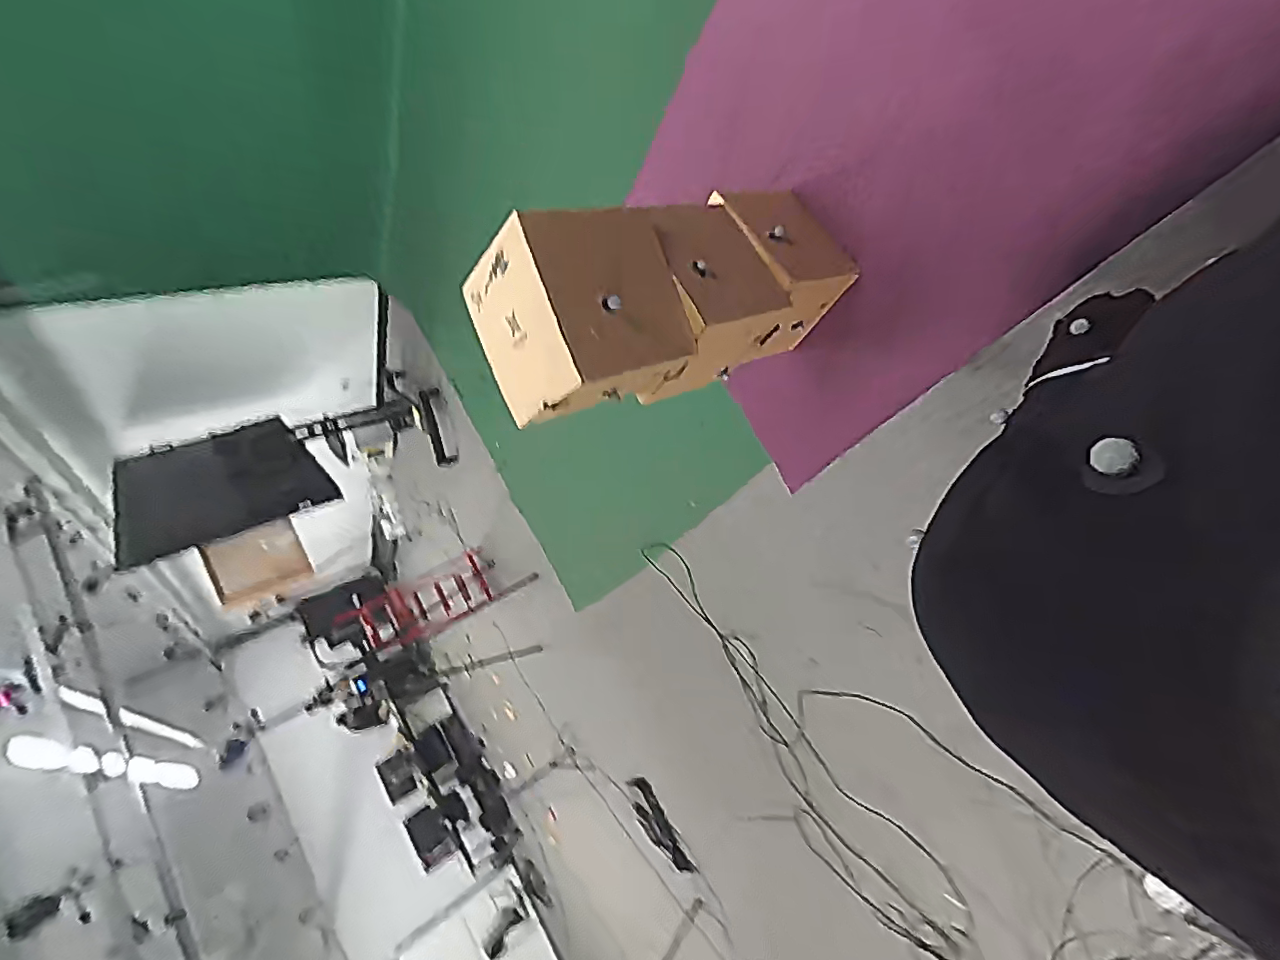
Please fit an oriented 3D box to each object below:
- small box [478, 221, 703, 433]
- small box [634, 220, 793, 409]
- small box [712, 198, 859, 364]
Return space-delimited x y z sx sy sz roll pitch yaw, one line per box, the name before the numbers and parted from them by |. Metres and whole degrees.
small box | -0.054 -0.176 0.629 0.168 0.176 0.179 -16 97 53
small box | 0.069 -0.226 0.725 0.179 0.176 0.168 59 143 11
small box | 0.187 -0.296 0.817 0.179 0.176 0.168 56 143 14
